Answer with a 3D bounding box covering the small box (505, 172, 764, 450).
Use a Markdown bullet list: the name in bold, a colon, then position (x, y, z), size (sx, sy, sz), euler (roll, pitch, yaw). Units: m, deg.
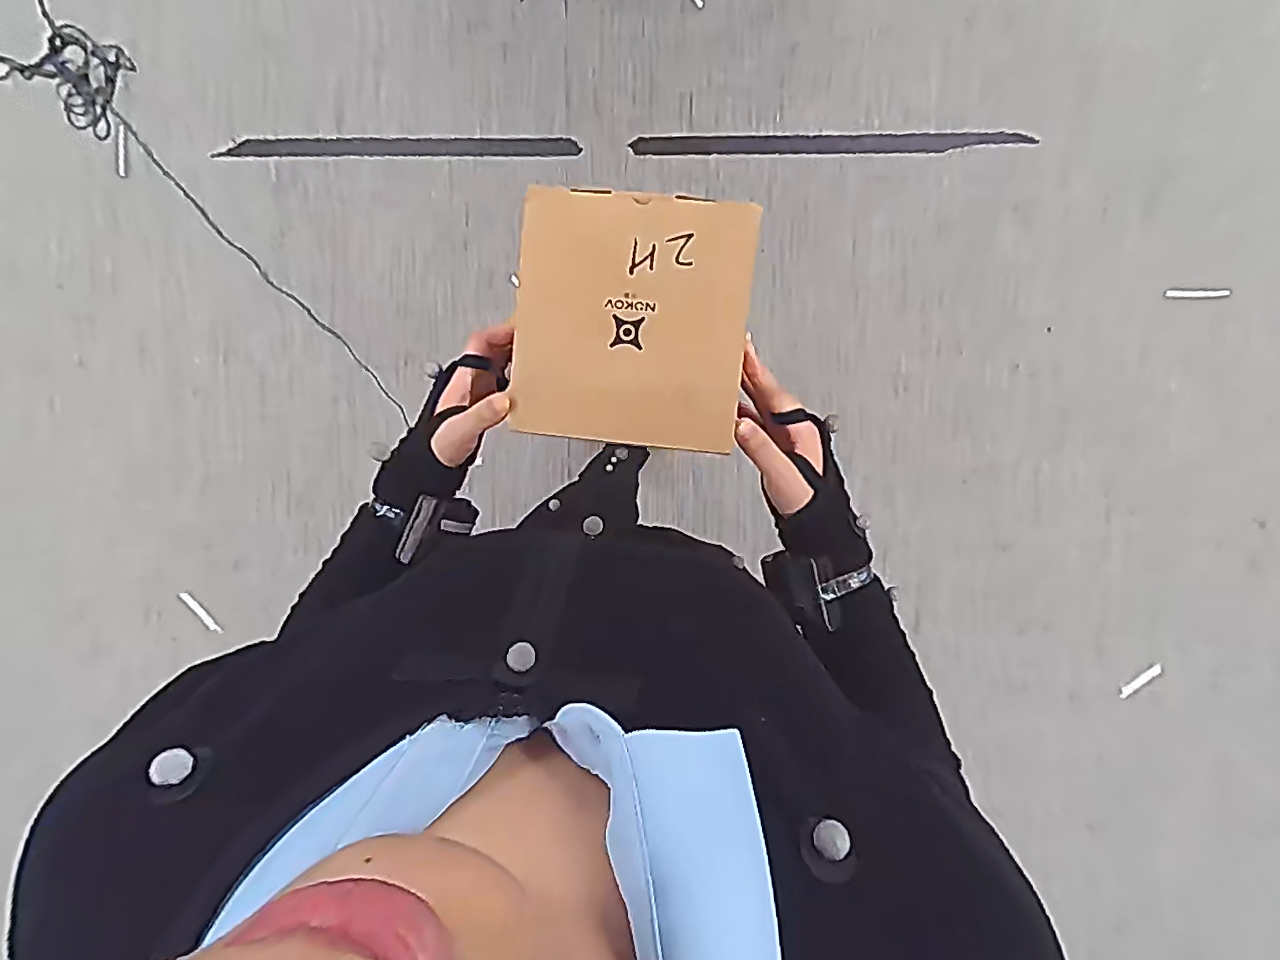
- **small box**: position (0.000, -0.122, 0.452), size (0.168, 0.176, 0.179), euler (7, 94, 3)
